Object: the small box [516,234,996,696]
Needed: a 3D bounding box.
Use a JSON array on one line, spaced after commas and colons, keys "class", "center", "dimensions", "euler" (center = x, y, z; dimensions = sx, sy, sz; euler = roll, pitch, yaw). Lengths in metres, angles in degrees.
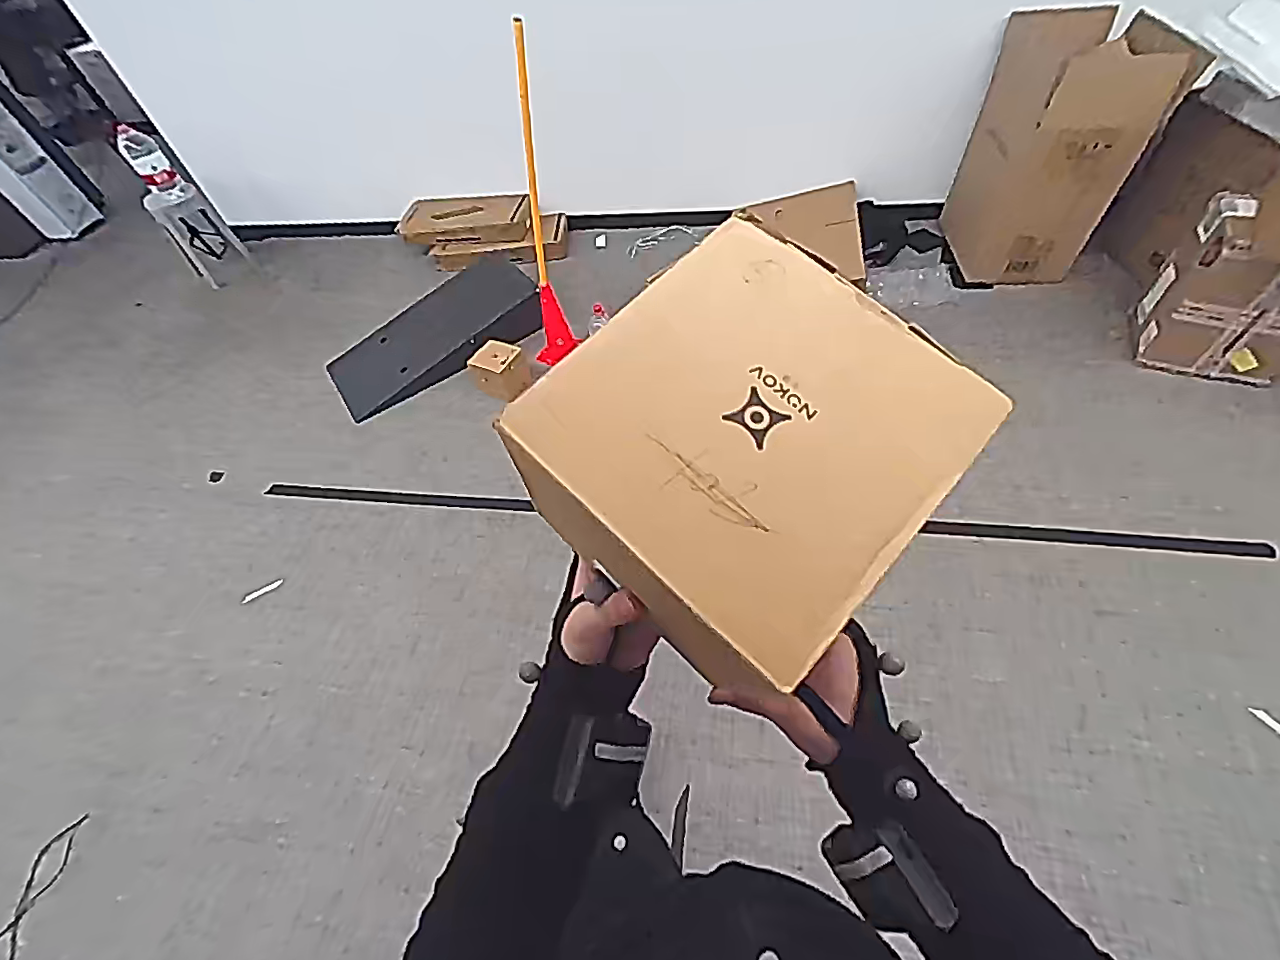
[{"class": "small box", "center": [0.053, 0.002, 0.329], "dimensions": [0.168, 0.176, 0.179], "euler": [42, 74, 12]}]
